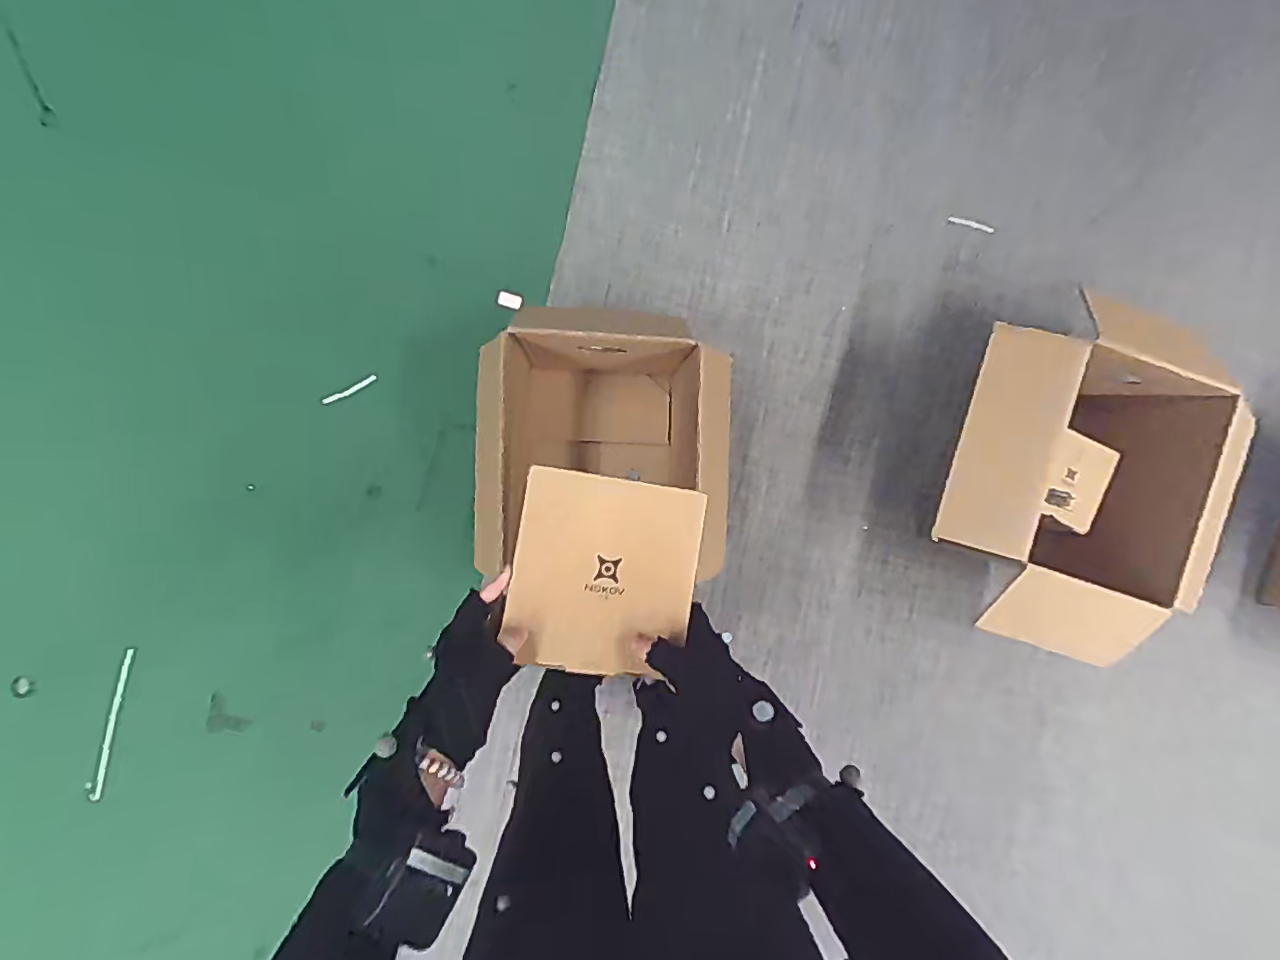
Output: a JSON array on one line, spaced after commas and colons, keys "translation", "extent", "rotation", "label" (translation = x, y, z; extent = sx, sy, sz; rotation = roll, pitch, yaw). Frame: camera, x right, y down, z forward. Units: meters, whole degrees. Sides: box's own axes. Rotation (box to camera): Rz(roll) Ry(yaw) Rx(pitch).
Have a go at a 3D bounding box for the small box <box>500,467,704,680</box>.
[{"translation": [-0.047, 0.088, 0.566], "extent": [0.168, 0.176, 0.179], "rotation": [10, 87, -11], "label": "small box"}]
